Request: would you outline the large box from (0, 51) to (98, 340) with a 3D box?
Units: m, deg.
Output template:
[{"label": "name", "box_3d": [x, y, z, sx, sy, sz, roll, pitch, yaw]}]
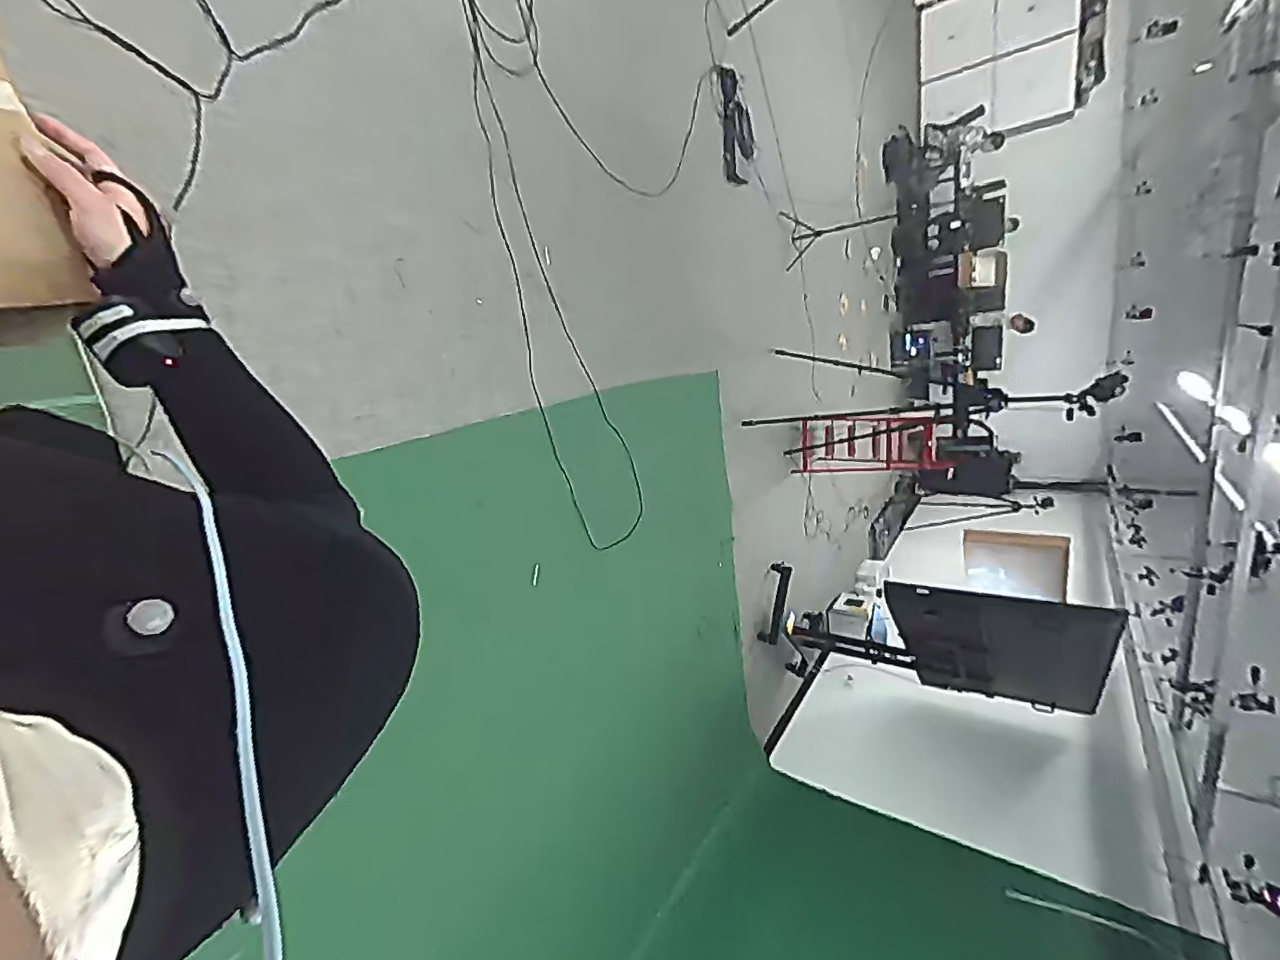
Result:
[{"label": "large box", "box_3d": [-0.738, -0.251, 0.380, 0.408, 0.320, 0.320, -28, 116, -49]}]
